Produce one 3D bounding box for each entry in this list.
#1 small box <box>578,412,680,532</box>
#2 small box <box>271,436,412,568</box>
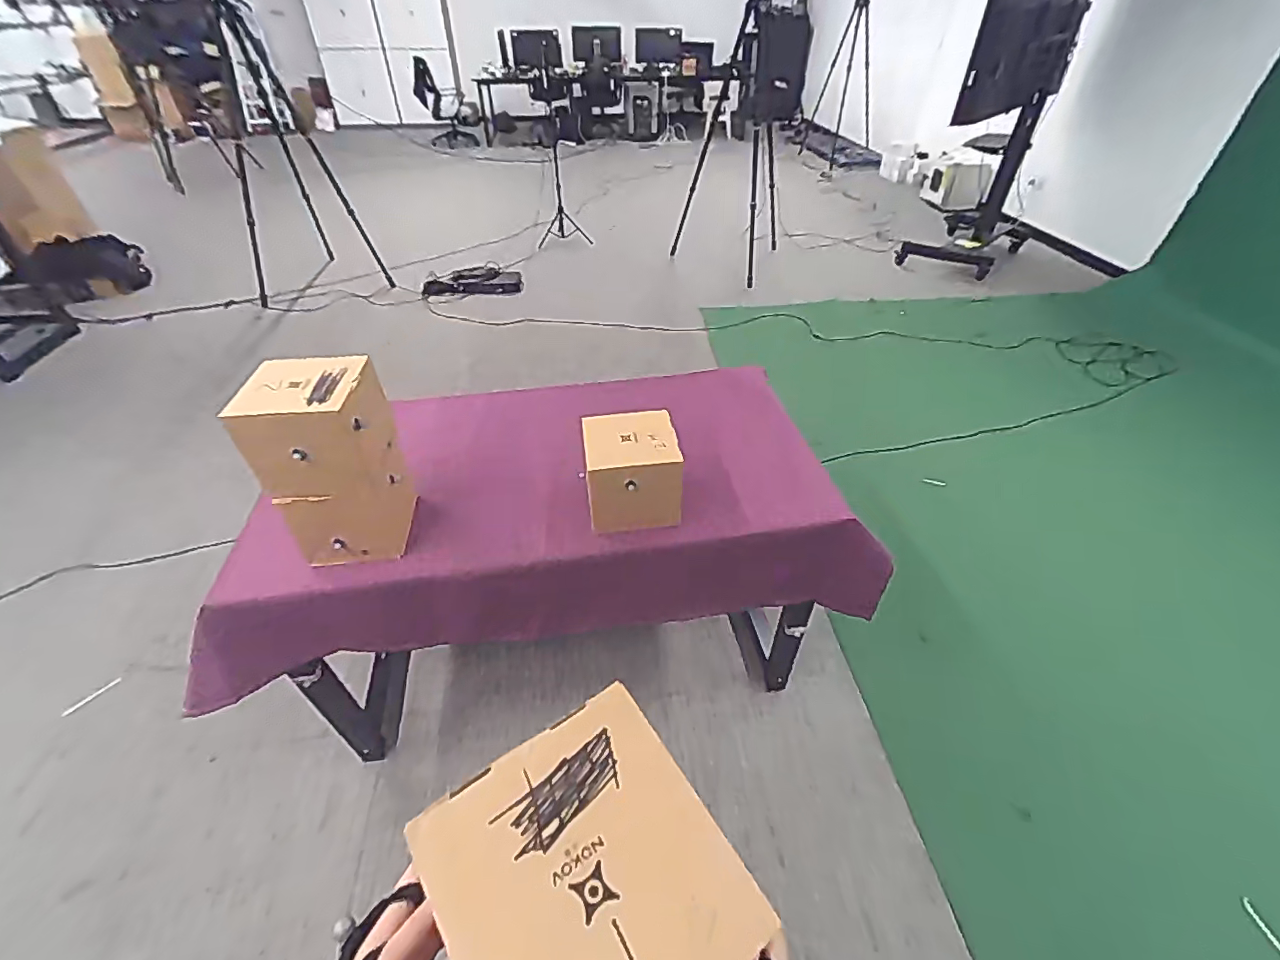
[{"bbox_3d":[-0.023,-0.012,1.063,0.179,0.176,0.168,-6,43,-6],"label":"small box"},{"bbox_3d":[-0.539,0.039,1.008,0.168,0.176,0.179,-6,43,-7],"label":"small box"}]
